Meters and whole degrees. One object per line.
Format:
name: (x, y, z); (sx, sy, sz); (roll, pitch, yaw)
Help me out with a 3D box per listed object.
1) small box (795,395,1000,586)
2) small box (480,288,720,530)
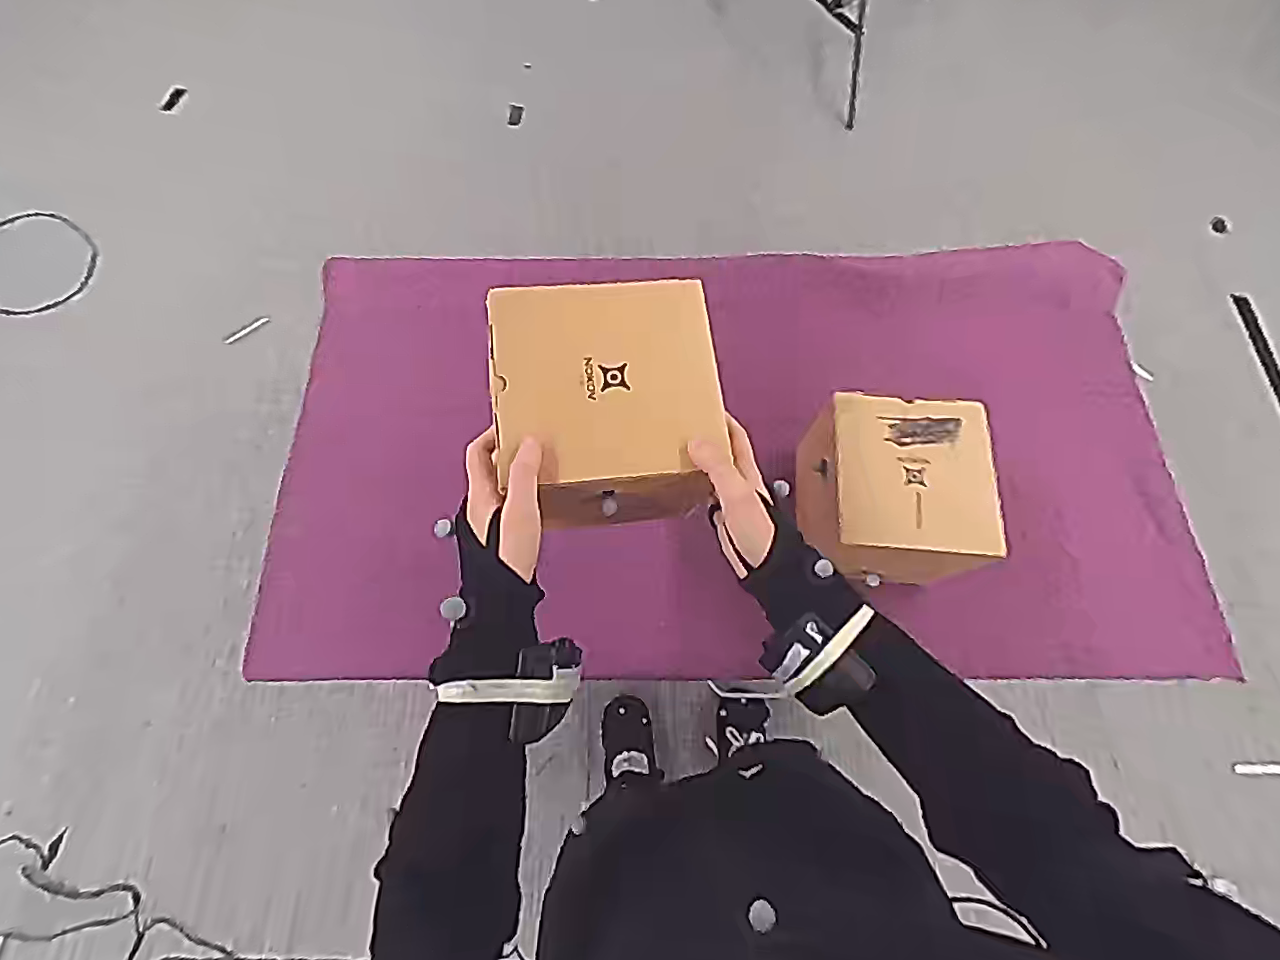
small box: (0.287, 0.020, 0.647); (0.168, 0.176, 0.179); (5, 70, 3)
small box: (-0.041, -0.054, 0.496); (0.179, 0.176, 0.168); (-6, 75, -7)
